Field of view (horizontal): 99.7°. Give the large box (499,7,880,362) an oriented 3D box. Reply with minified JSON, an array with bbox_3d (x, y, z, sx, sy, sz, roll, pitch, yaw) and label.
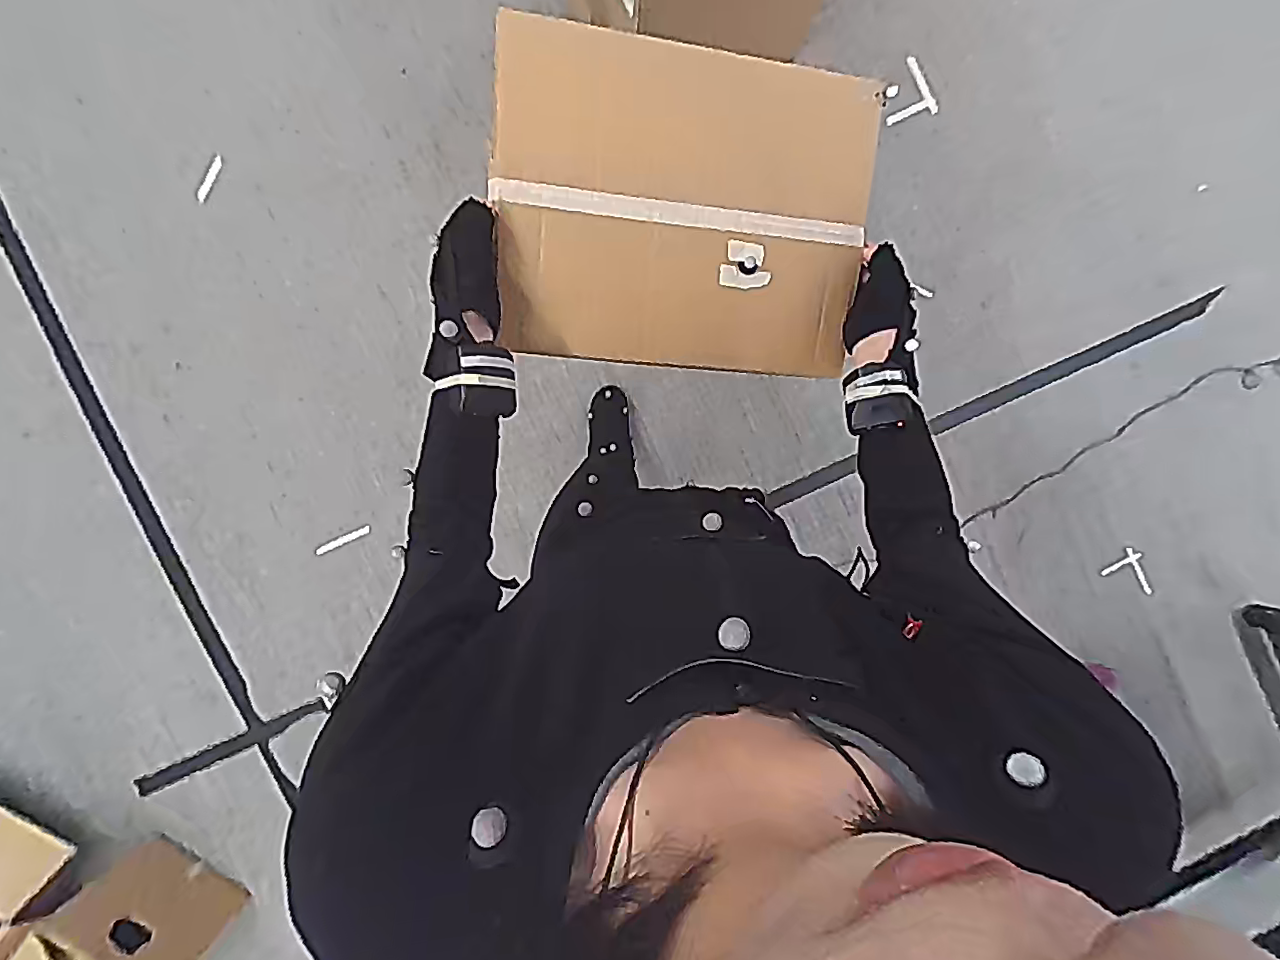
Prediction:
[{"bbox_3d":[0.028,-0.324,0.715,0.408,0.320,0.320,2,103,-11],"label":"large box"}]
